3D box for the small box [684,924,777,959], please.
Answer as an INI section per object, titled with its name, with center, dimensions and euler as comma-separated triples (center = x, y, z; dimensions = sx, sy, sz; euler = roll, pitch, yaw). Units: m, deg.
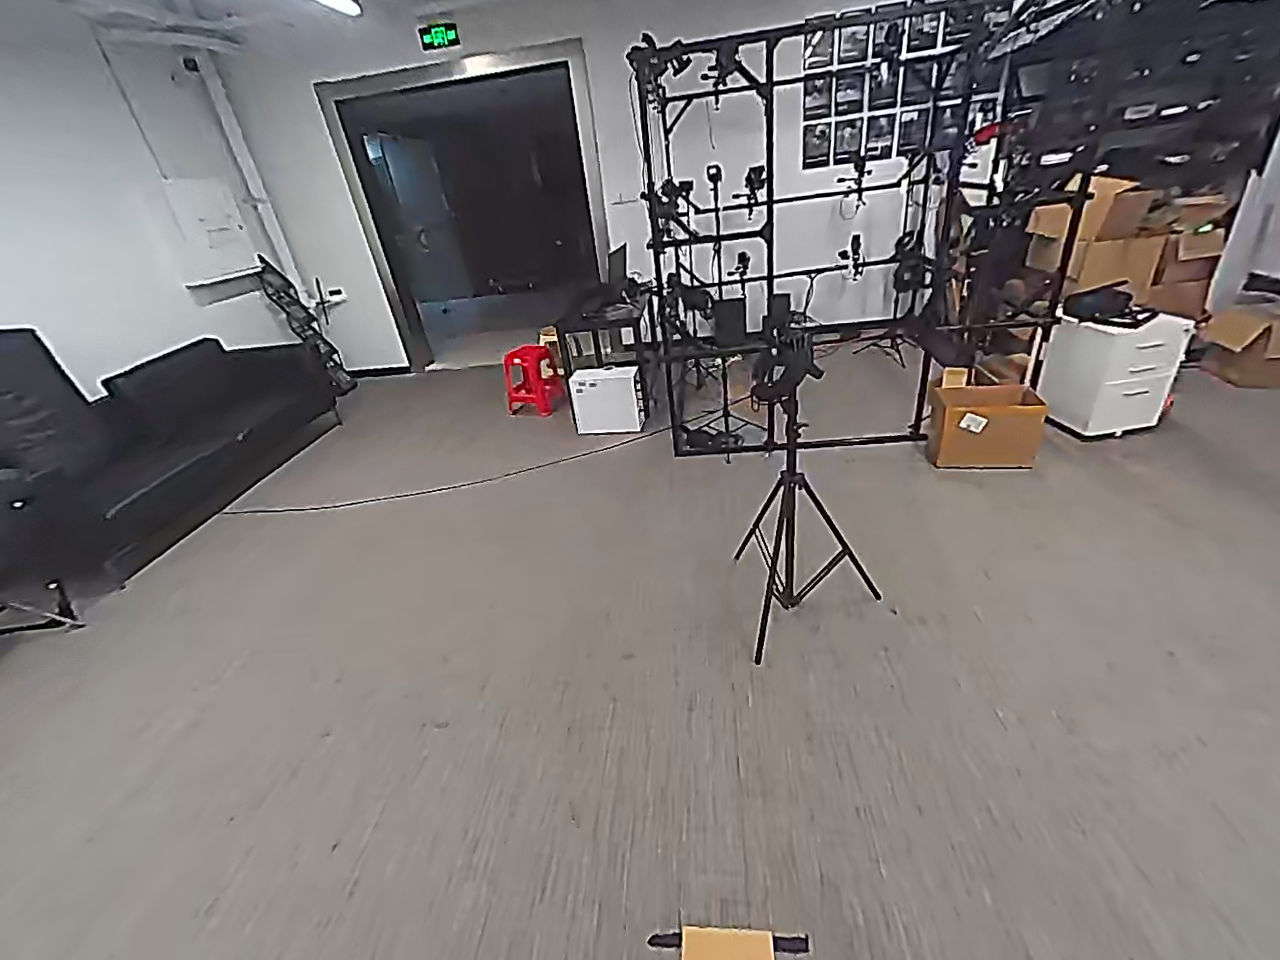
[small box]
center = 0.163, 0.935, 0.959
dimensions = 0.168, 0.176, 0.179
euler = -4, 30, 8
